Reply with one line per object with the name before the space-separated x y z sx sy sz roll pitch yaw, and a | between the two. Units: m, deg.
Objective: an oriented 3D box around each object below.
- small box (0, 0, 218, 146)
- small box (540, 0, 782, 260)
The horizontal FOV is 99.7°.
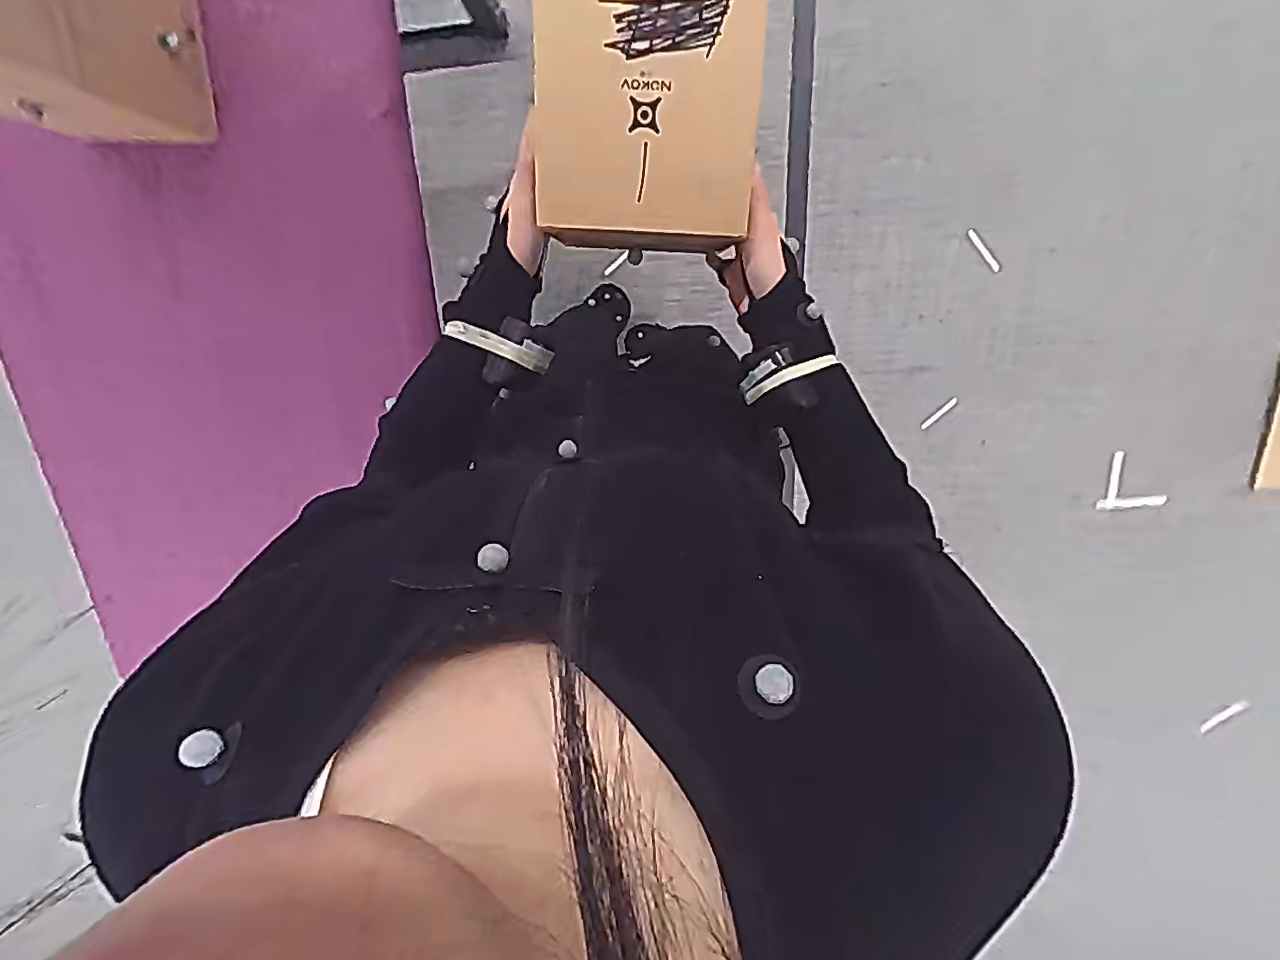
small box | -0.596 -0.464 0.560 0.179 0.176 0.168 4 108 3
small box | 0.011 -0.295 0.466 0.168 0.176 0.179 4 108 0
